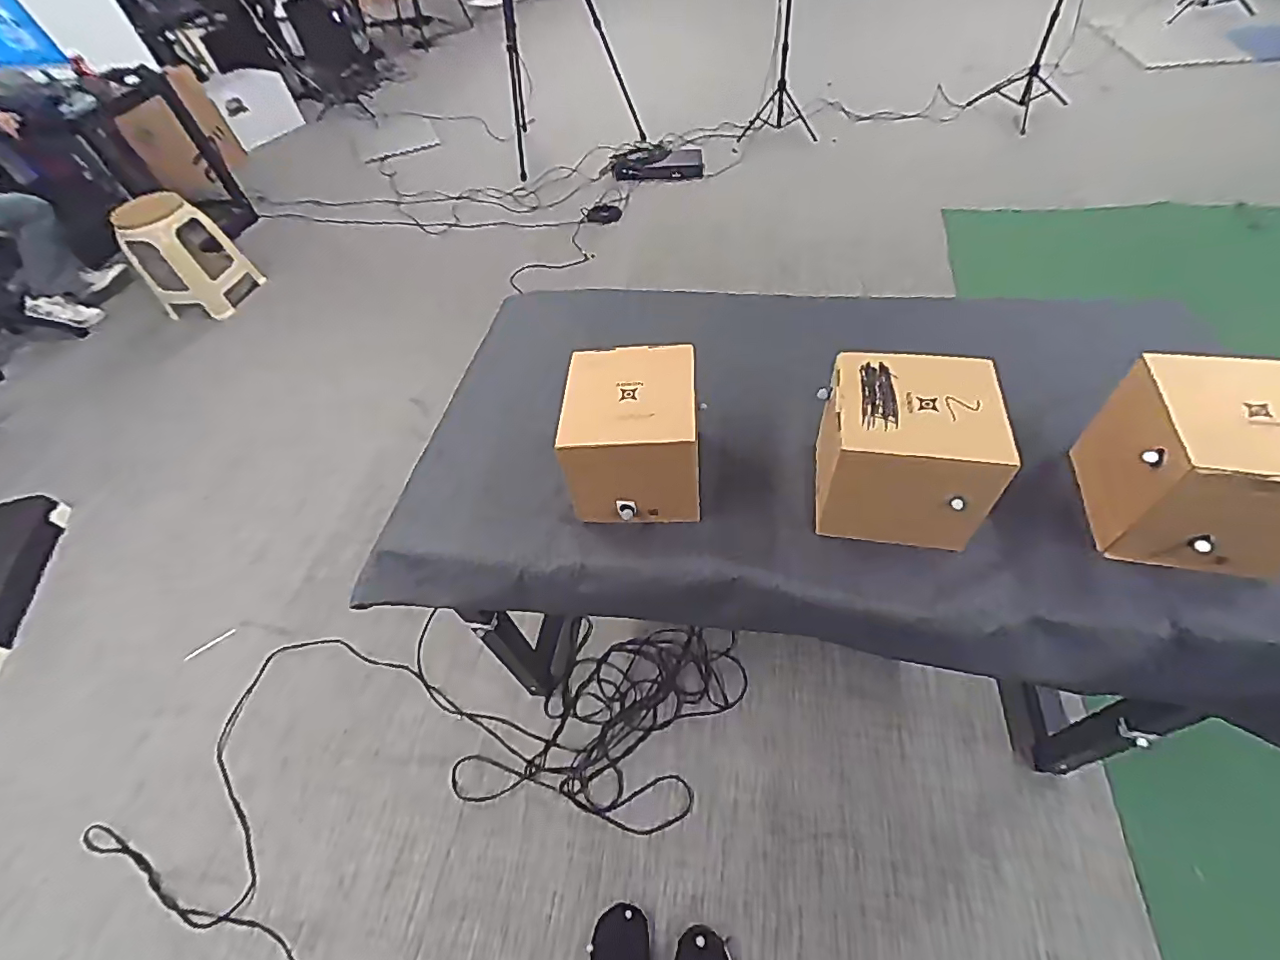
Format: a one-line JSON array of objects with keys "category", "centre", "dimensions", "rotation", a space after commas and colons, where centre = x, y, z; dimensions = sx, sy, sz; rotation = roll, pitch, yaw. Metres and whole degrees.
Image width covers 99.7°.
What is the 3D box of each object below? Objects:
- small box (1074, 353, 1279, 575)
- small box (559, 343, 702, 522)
[{"category": "small box", "centre": [0.637, -0.018, 0.612], "dimensions": [0.168, 0.176, 0.179], "rotation": [7, 53, 13]}, {"category": "small box", "centre": [-0.002, -0.061, 0.731], "dimensions": [0.168, 0.176, 0.179], "rotation": [-3, 52, 7]}]
